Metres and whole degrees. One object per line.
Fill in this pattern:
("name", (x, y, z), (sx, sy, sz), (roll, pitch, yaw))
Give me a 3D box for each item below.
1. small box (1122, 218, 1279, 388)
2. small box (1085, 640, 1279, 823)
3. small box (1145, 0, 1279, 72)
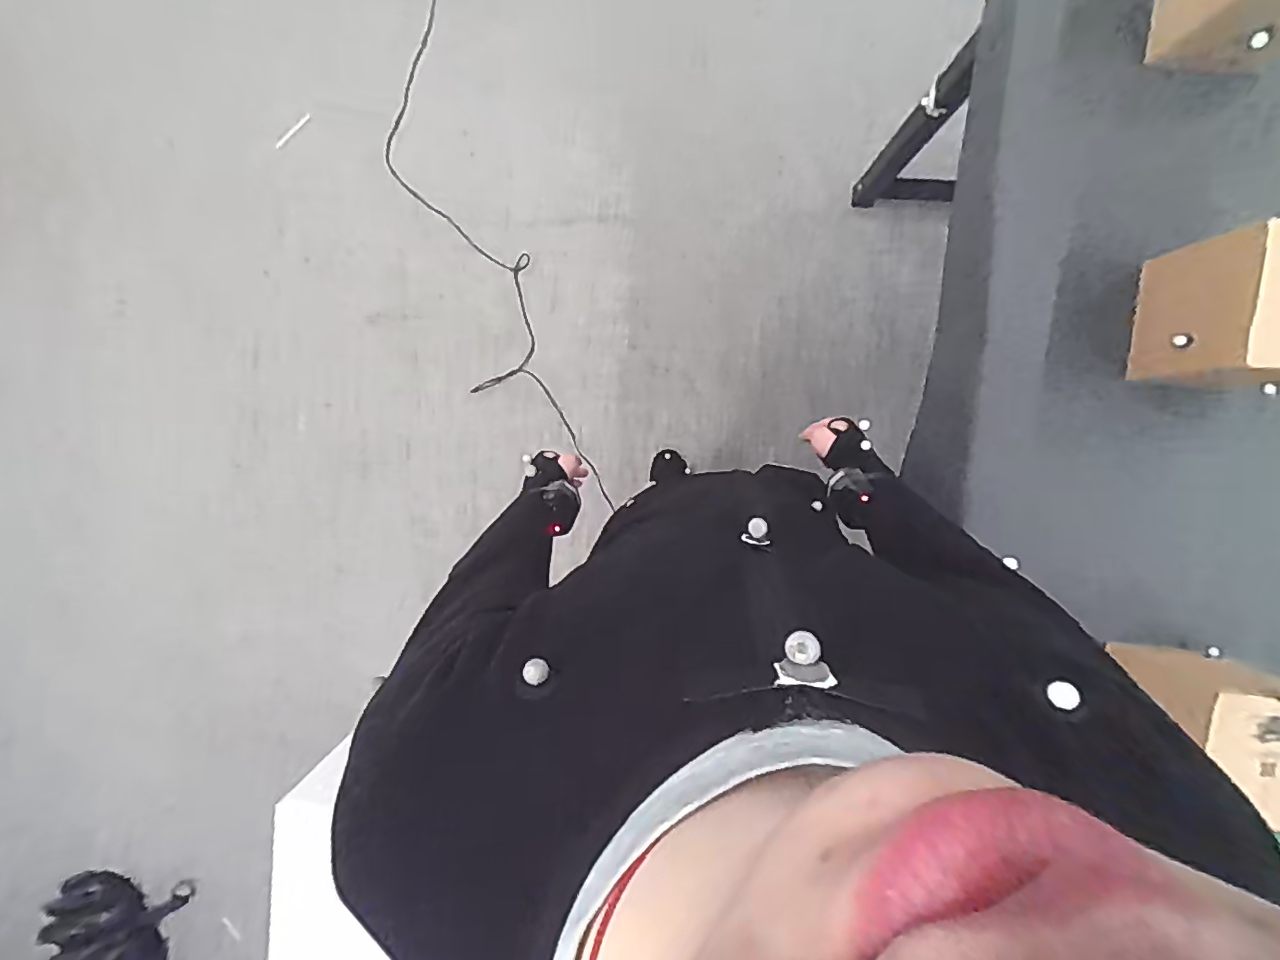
("small box", (0.801, -0.222, 0.722), (0.168, 0.176, 0.179), (4, 93, -2))
("small box", (0.782, 0.342, 0.763), (0.168, 0.176, 0.179), (6, 95, 0))
("small box", (0.801, -0.660, 0.683), (0.168, 0.176, 0.179), (4, 96, -1))
